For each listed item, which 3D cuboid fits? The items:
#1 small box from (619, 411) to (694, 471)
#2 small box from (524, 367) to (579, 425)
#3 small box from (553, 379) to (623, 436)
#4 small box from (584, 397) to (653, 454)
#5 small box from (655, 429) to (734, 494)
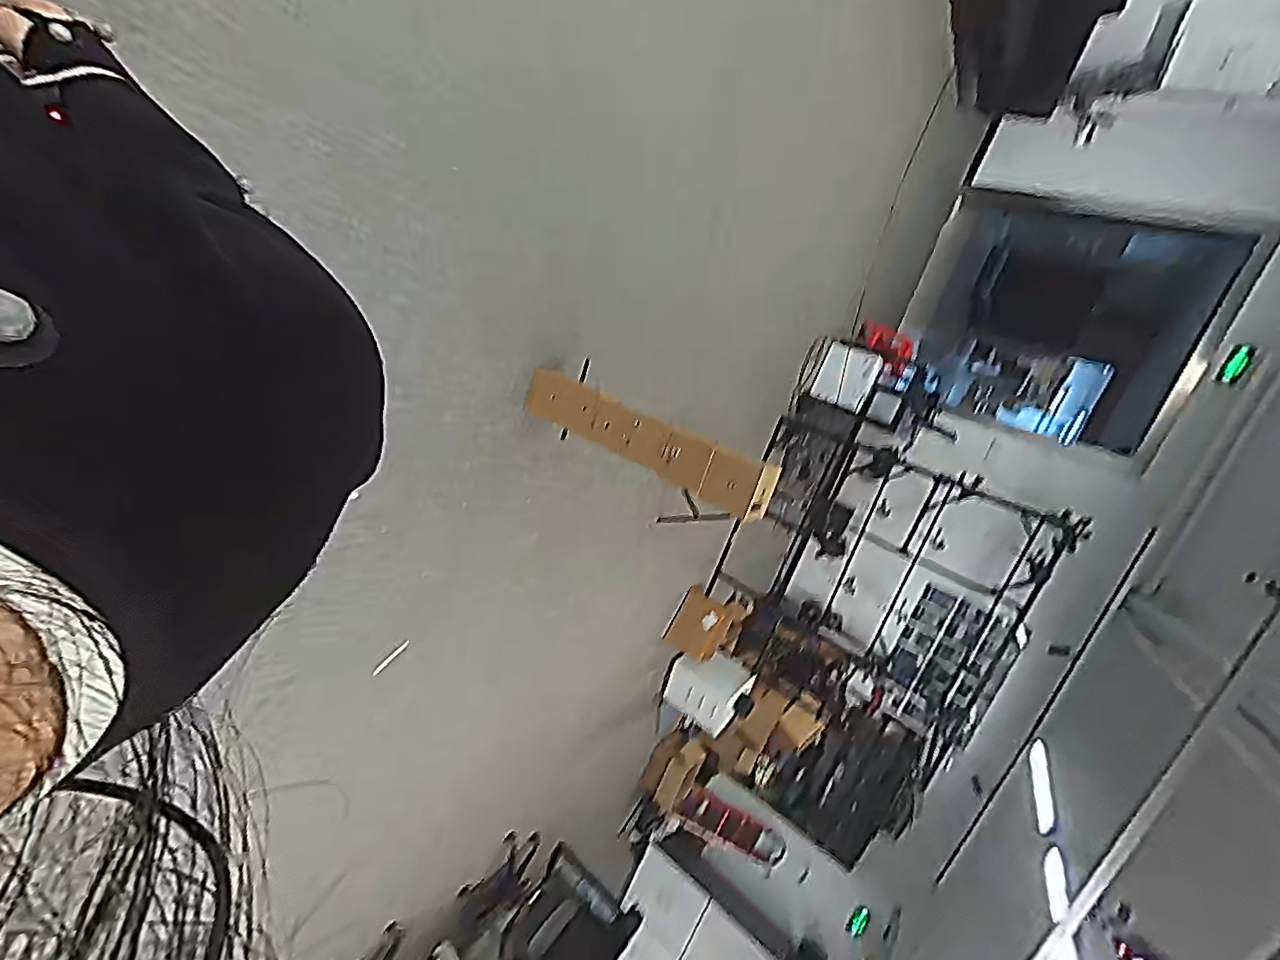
[{"bbox_3d":[0.055,-0.129,1.864,0.179,0.176,0.168,2,111,-58],"label":"small box"},{"bbox_3d":[-0.326,-0.321,2.108,0.168,0.176,0.179,1,113,-57],"label":"small box"},{"bbox_3d":[-0.198,-0.263,2.022,0.168,0.176,0.179,5,108,-57],"label":"small box"},{"bbox_3d":[-0.074,-0.191,1.945,0.179,0.176,0.168,4,110,-57],"label":"small box"},{"bbox_3d":[0.180,-0.063,1.784,0.179,0.176,0.168,0,112,-56],"label":"small box"}]
